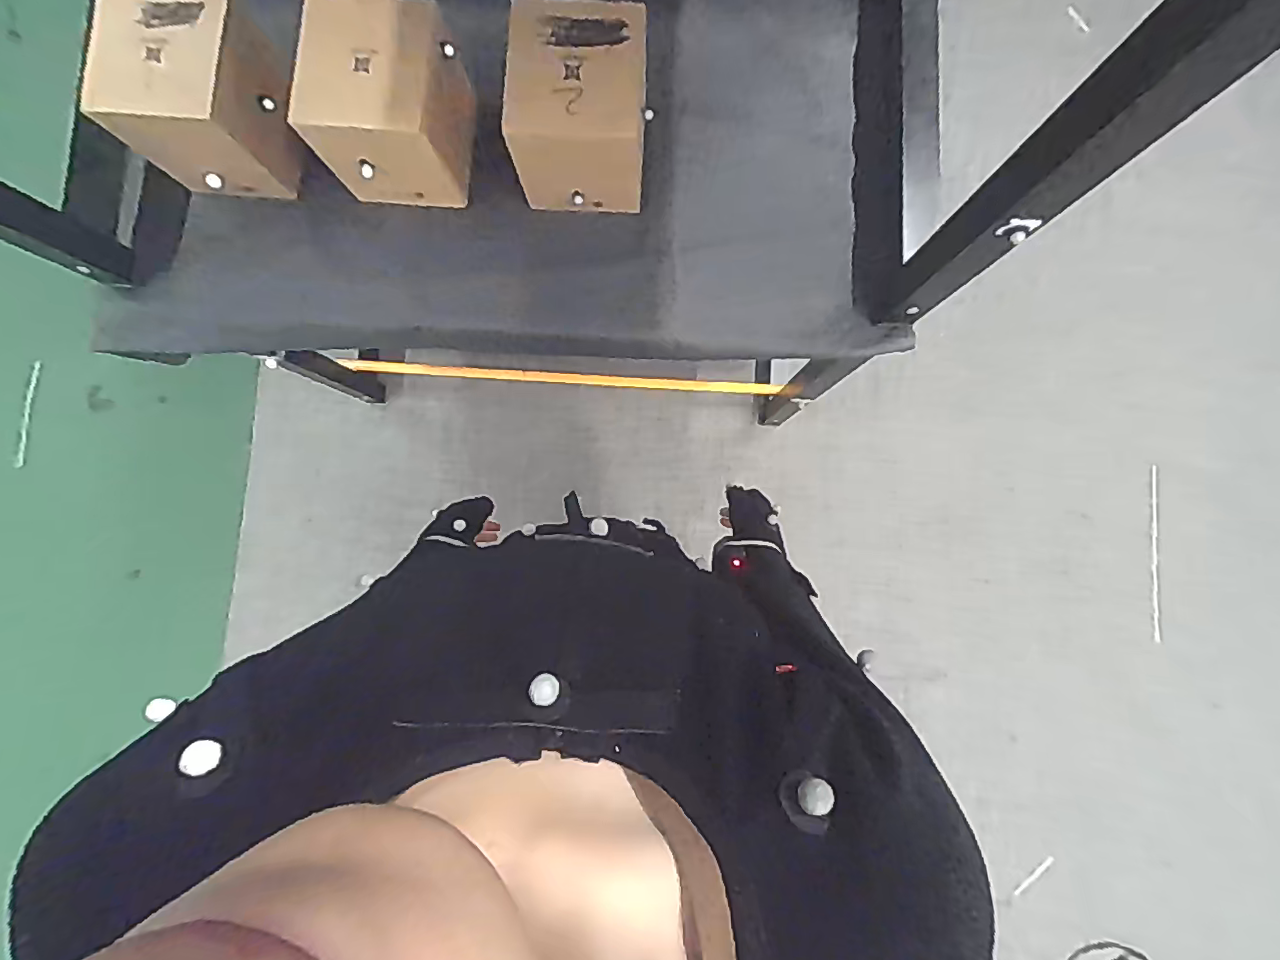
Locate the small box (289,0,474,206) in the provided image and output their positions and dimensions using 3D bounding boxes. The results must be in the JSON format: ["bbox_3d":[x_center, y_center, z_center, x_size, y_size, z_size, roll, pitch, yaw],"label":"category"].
[{"bbox_3d":[-0.339,-0.505,0.741,0.168,0.176,0.179,4,85,1],"label":"small box"}]

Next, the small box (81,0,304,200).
[{"bbox_3d":[-0.591,-0.521,0.742,0.168,0.176,0.179,4,86,1],"label":"small box"}]
